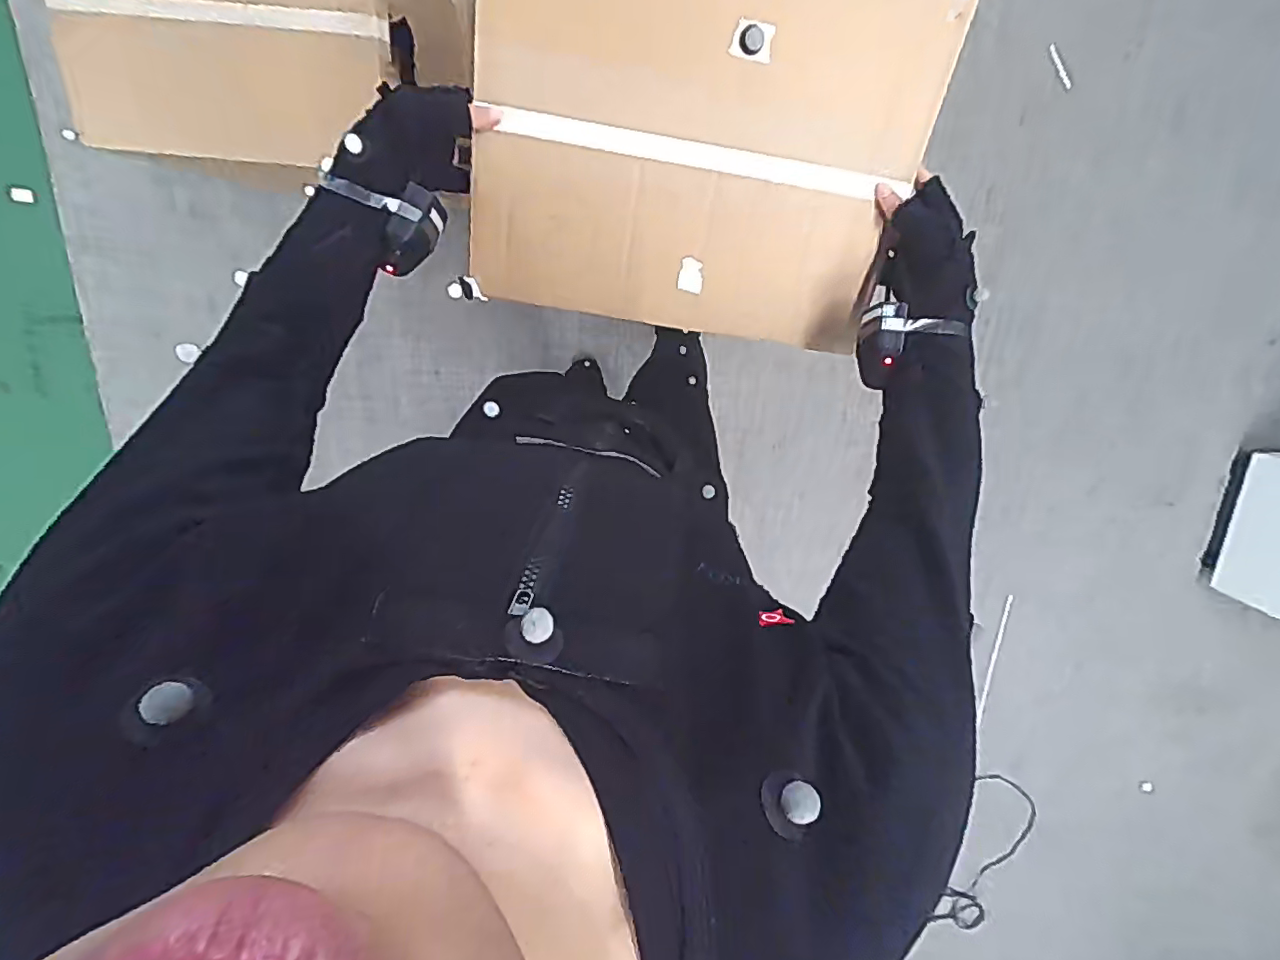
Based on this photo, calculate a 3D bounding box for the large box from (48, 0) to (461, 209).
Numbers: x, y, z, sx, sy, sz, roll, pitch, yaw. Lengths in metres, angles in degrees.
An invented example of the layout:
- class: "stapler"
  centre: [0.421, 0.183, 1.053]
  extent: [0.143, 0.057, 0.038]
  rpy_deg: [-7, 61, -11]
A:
- class: "large box"
  centre: [-0.516, -0.602, 0.802]
  extent: [0.408, 0.320, 0.320]
  rpy_deg: [5, 109, -1]
